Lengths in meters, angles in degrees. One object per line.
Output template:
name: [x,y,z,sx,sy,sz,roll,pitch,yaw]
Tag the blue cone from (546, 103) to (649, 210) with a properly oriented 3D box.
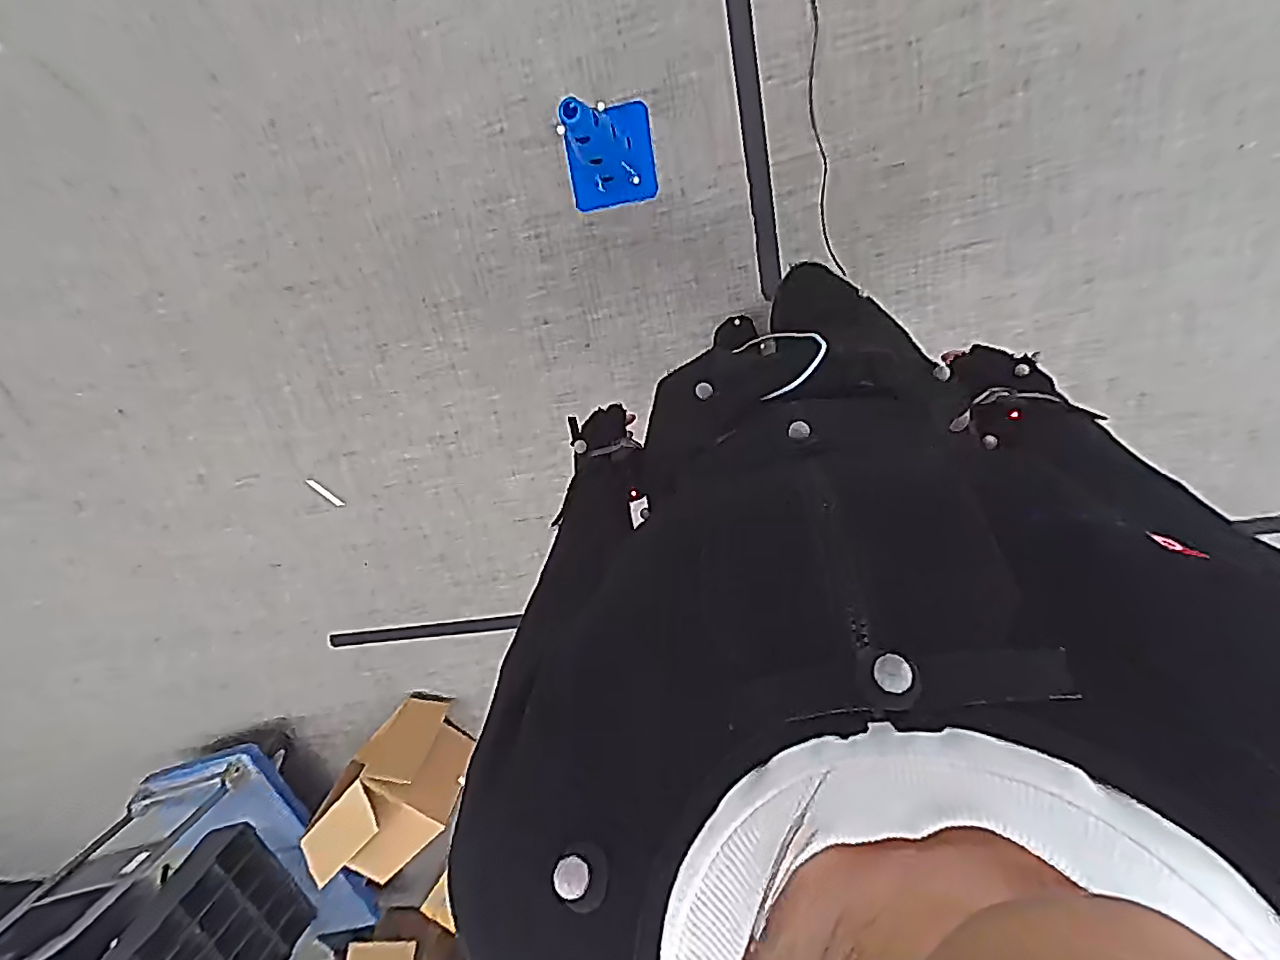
blue cone: [-0.106,-0.688,1.095,0.192,0.380,0.193,-4,108,11]
